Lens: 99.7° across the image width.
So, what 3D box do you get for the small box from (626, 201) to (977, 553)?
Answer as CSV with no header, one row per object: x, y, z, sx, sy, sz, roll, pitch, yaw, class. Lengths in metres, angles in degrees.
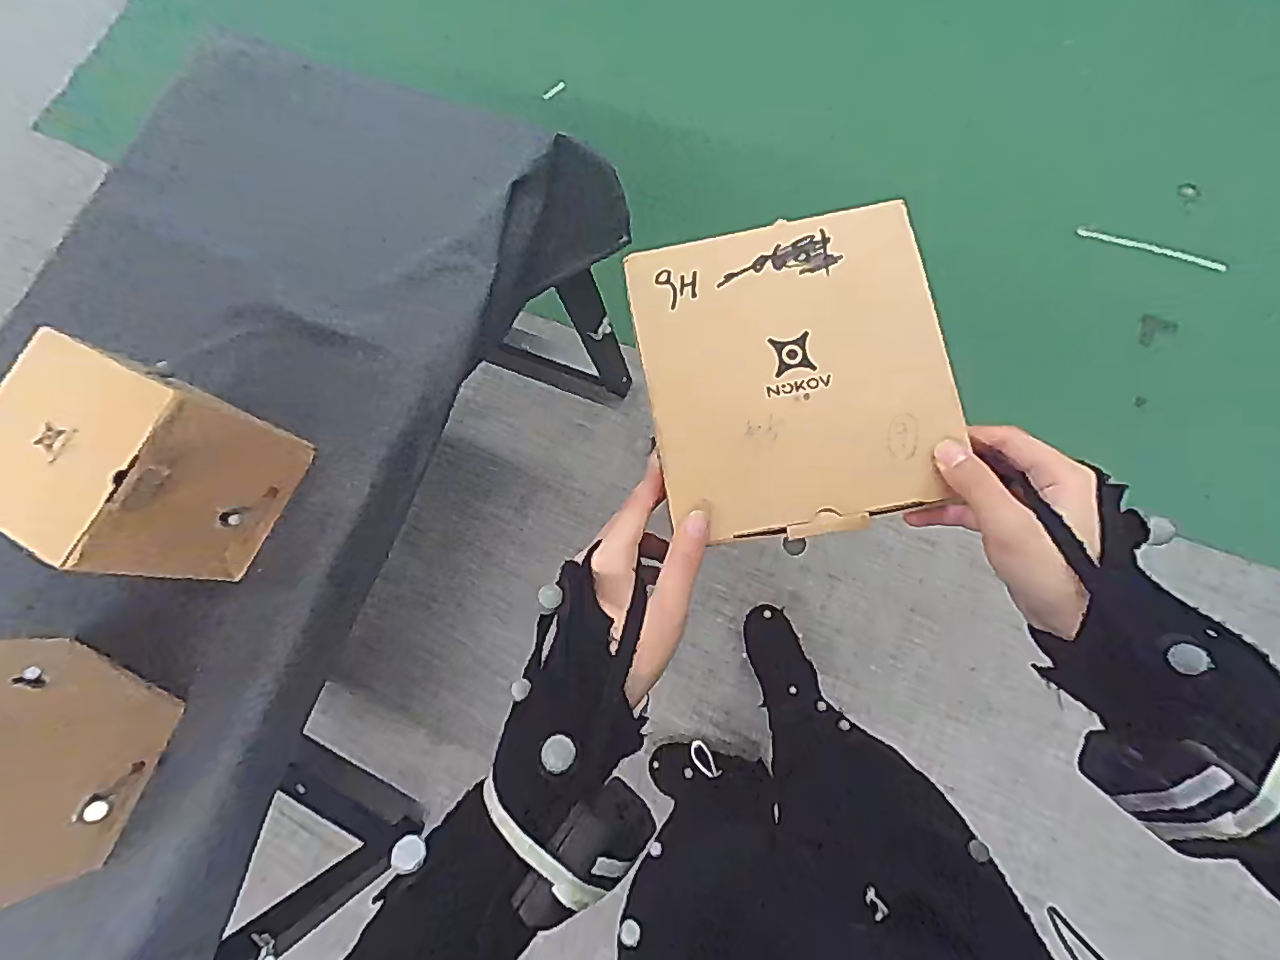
0.090,-0.051,0.377,0.168,0.176,0.179,-10,83,2,small box

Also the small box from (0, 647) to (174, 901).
-0.585,0.257,0.475,0.179,0.176,0.168,20,80,11,small box

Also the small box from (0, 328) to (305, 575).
-0.488,-0.014,0.530,0.179,0.176,0.168,23,80,12,small box
